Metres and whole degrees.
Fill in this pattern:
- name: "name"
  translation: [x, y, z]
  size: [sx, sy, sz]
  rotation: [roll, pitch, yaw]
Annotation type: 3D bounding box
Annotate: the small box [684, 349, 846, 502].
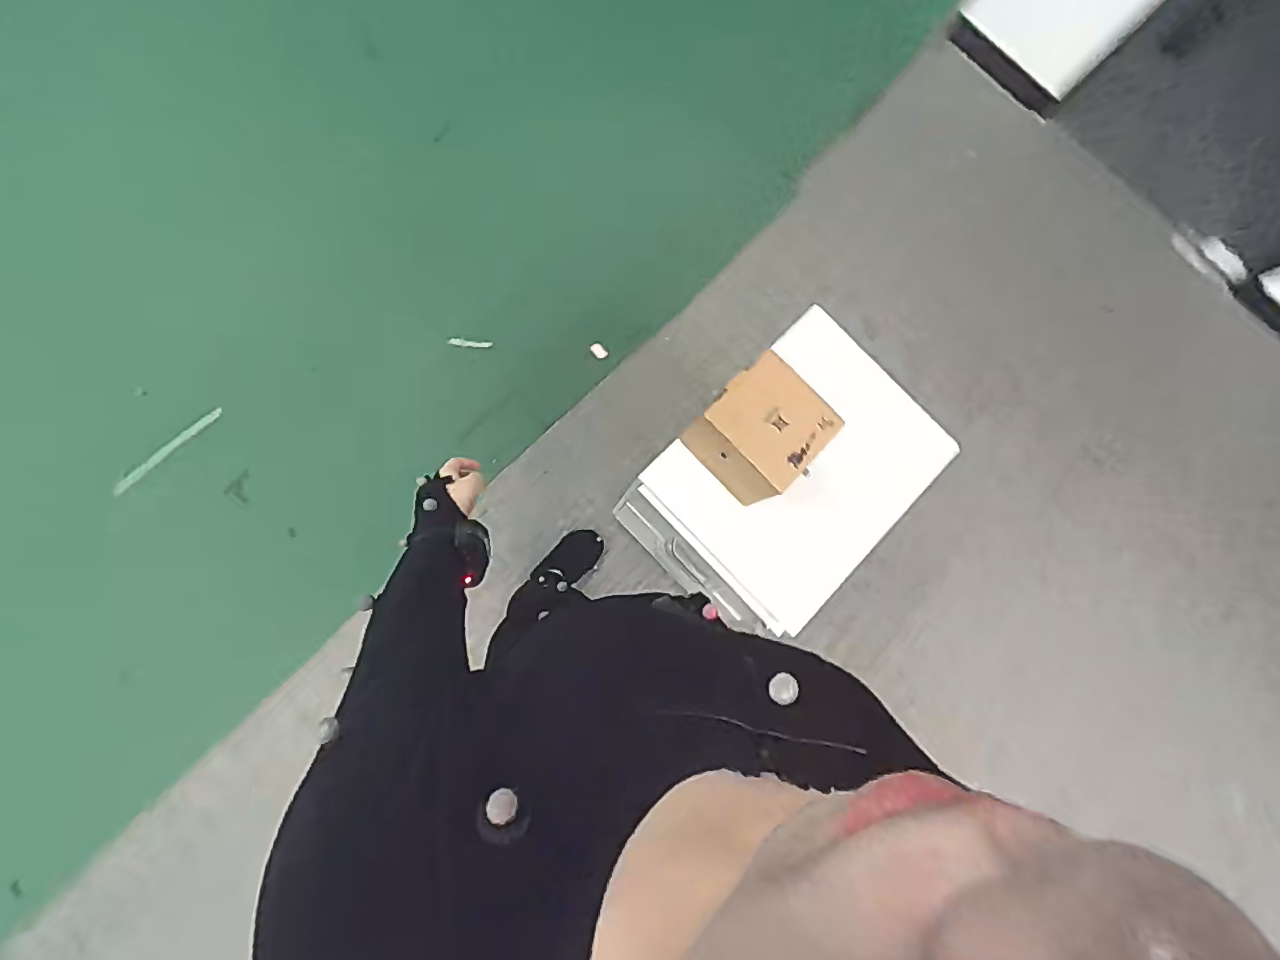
- name: "small box"
  translation: [0.198, -0.081, 0.913]
  size: [0.168, 0.176, 0.179]
  rotation: [-44, 89, -13]
